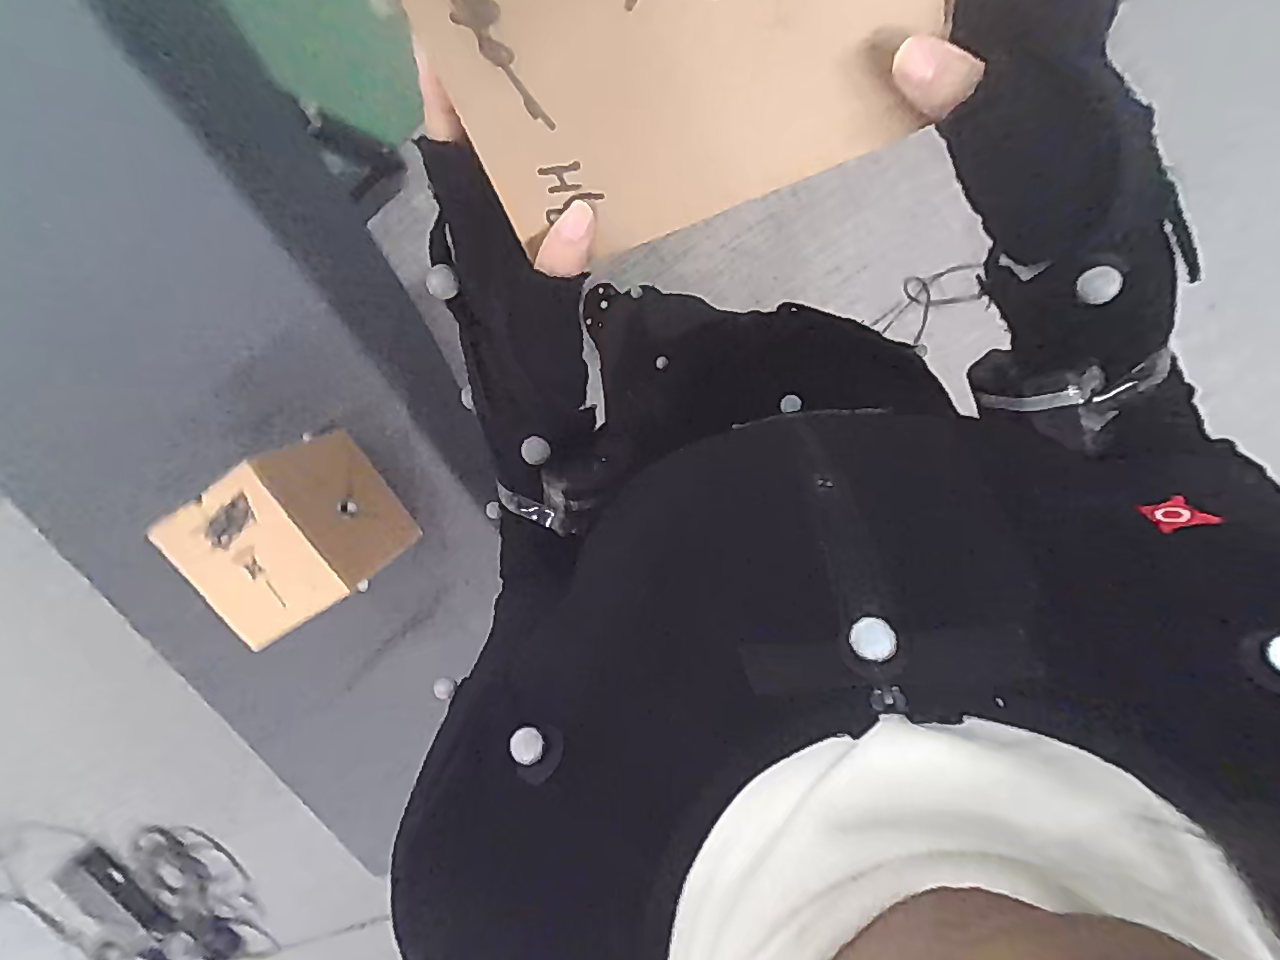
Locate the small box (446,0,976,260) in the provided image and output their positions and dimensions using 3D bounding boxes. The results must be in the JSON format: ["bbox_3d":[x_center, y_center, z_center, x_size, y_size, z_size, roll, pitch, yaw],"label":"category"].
[{"bbox_3d":[0.013,-0.227,0.225,0.179,0.176,0.168,-17,132,7],"label":"small box"}]

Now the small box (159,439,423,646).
[{"bbox_3d":[-0.416,0.063,0.675,0.168,0.176,0.179,-30,102,14],"label":"small box"}]
